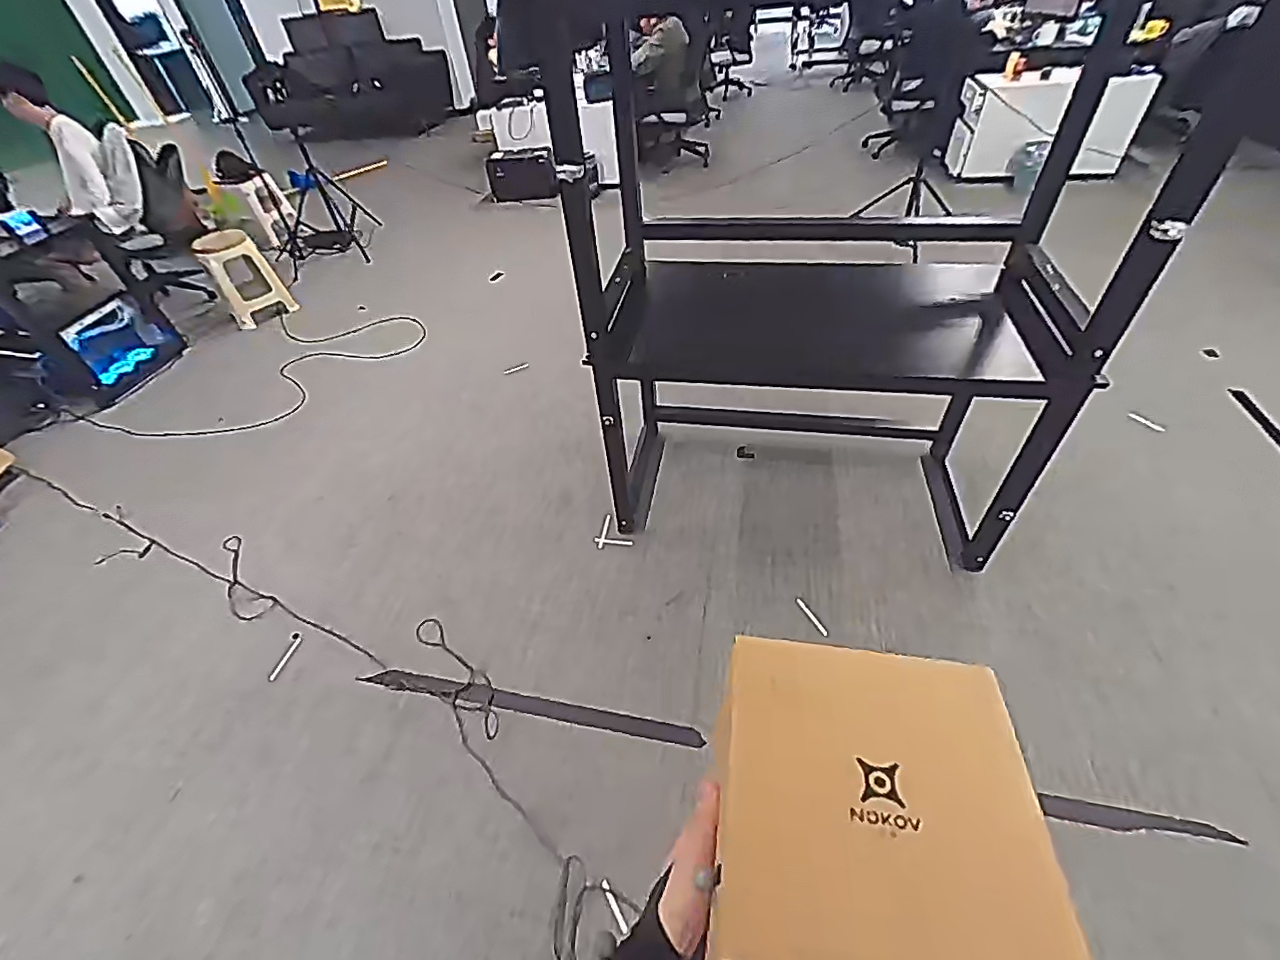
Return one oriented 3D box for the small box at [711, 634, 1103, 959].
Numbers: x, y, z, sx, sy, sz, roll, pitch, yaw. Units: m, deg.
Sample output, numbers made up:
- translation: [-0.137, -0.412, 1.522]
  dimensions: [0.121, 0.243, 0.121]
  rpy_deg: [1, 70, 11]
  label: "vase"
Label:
- translation: [0.136, 0.229, 0.347]
  dimensions: [0.168, 0.176, 0.179]
  rpy_deg: [5, 42, 8]
  label: "small box"
